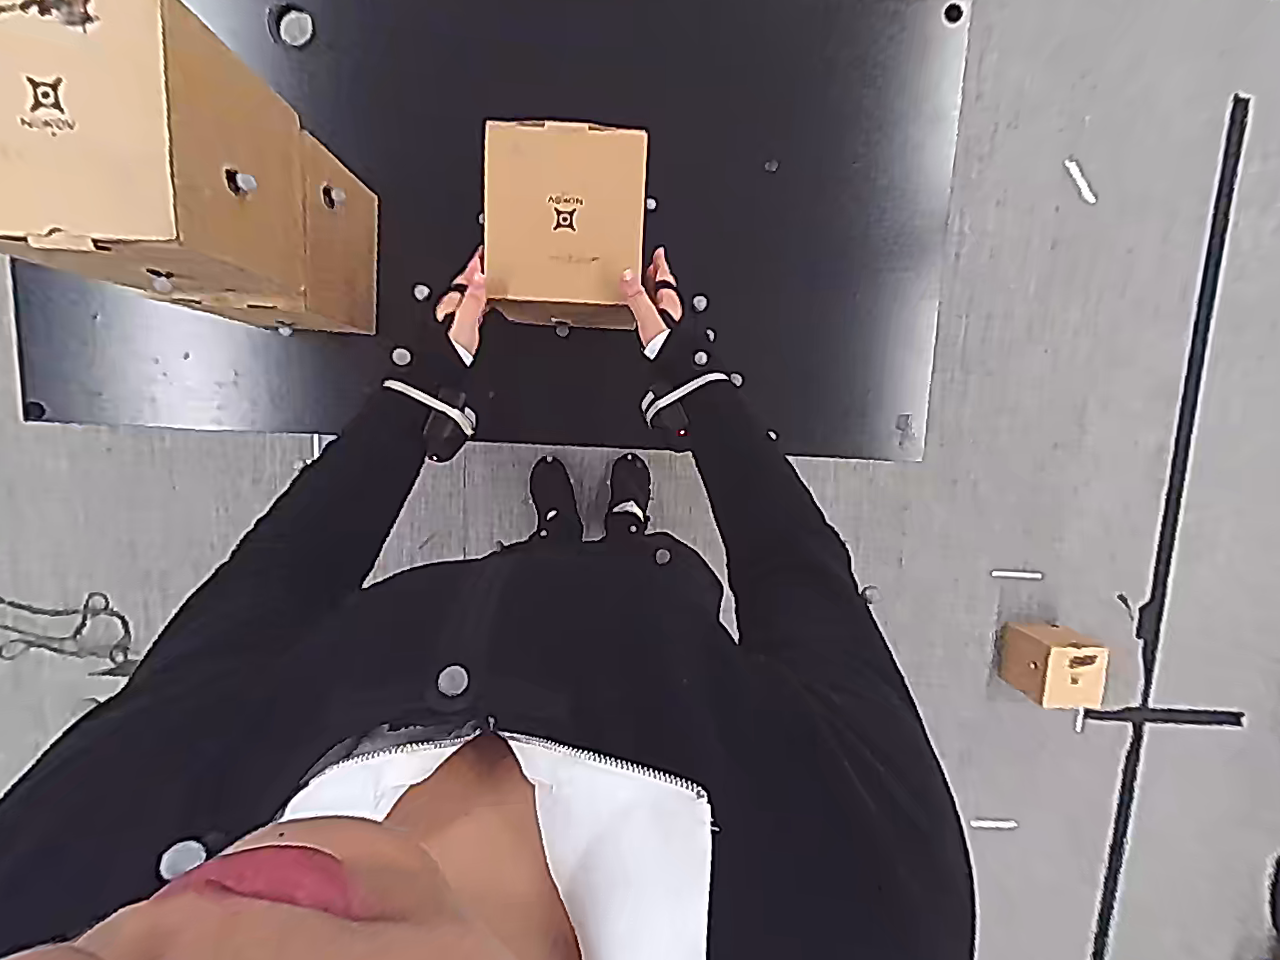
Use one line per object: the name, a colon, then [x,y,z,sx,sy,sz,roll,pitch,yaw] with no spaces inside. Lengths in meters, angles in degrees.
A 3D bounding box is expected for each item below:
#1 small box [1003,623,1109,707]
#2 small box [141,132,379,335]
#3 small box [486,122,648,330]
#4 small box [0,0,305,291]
small box: [1.163,0.516,1.524,0.168,0.176,0.179,1,97,-3]
small box: [-0.418,-0.275,0.621,0.168,0.176,0.179,4,96,-3]
small box: [-0.080,-0.283,0.639,0.168,0.176,0.179,1,97,-2]
small box: [-0.412,-0.265,0.457,0.168,0.176,0.179,1,97,-3]
